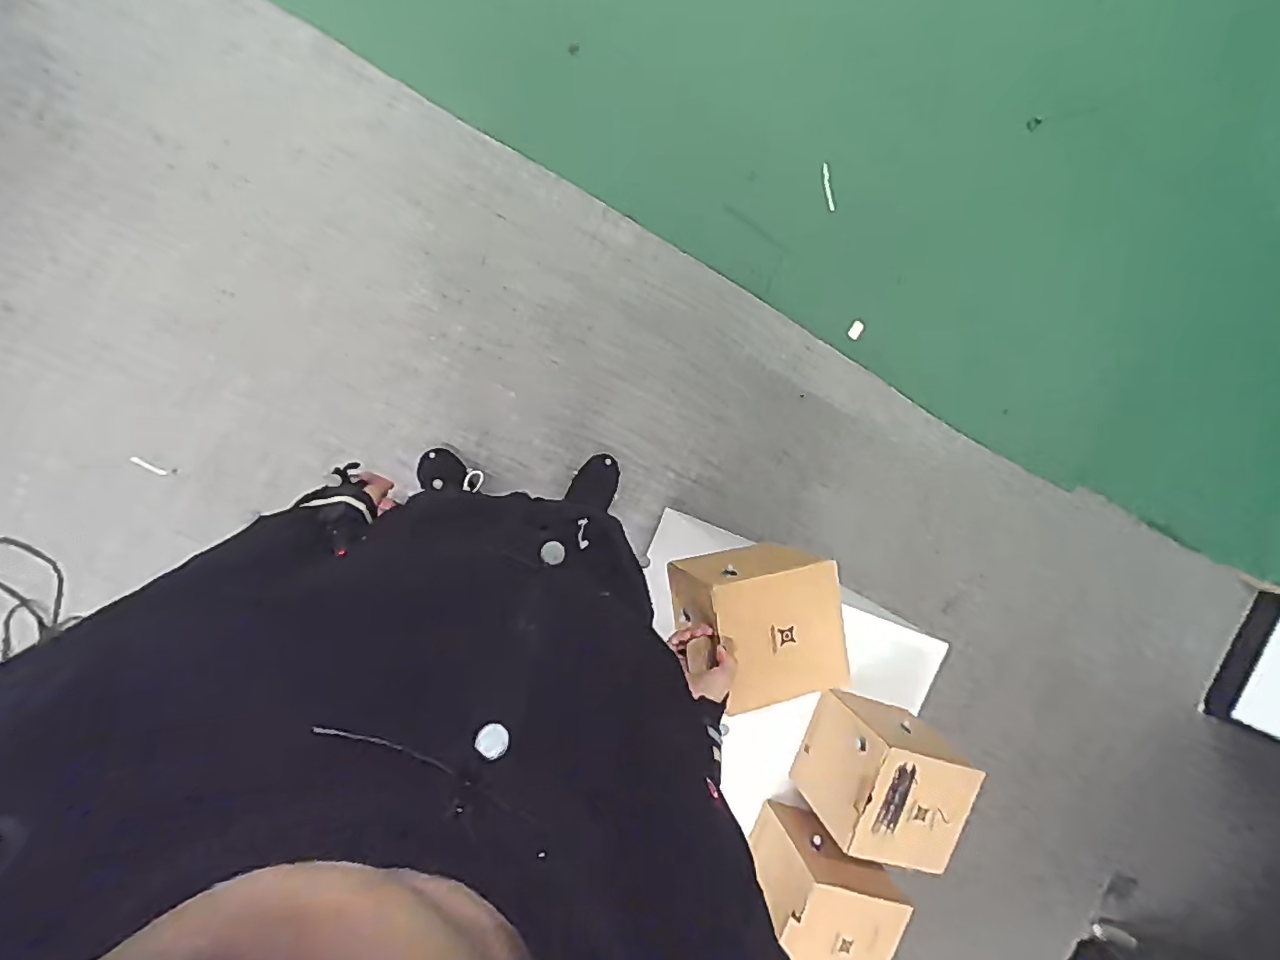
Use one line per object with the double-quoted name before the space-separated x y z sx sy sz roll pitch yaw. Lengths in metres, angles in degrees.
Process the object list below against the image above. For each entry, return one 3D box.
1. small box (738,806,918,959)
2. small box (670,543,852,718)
"small box" 0.278 0.647 0.842 0.179 0.176 0.168 22 93 -14
"small box" 0.158 0.191 0.745 0.179 0.176 0.168 -11 94 -15
